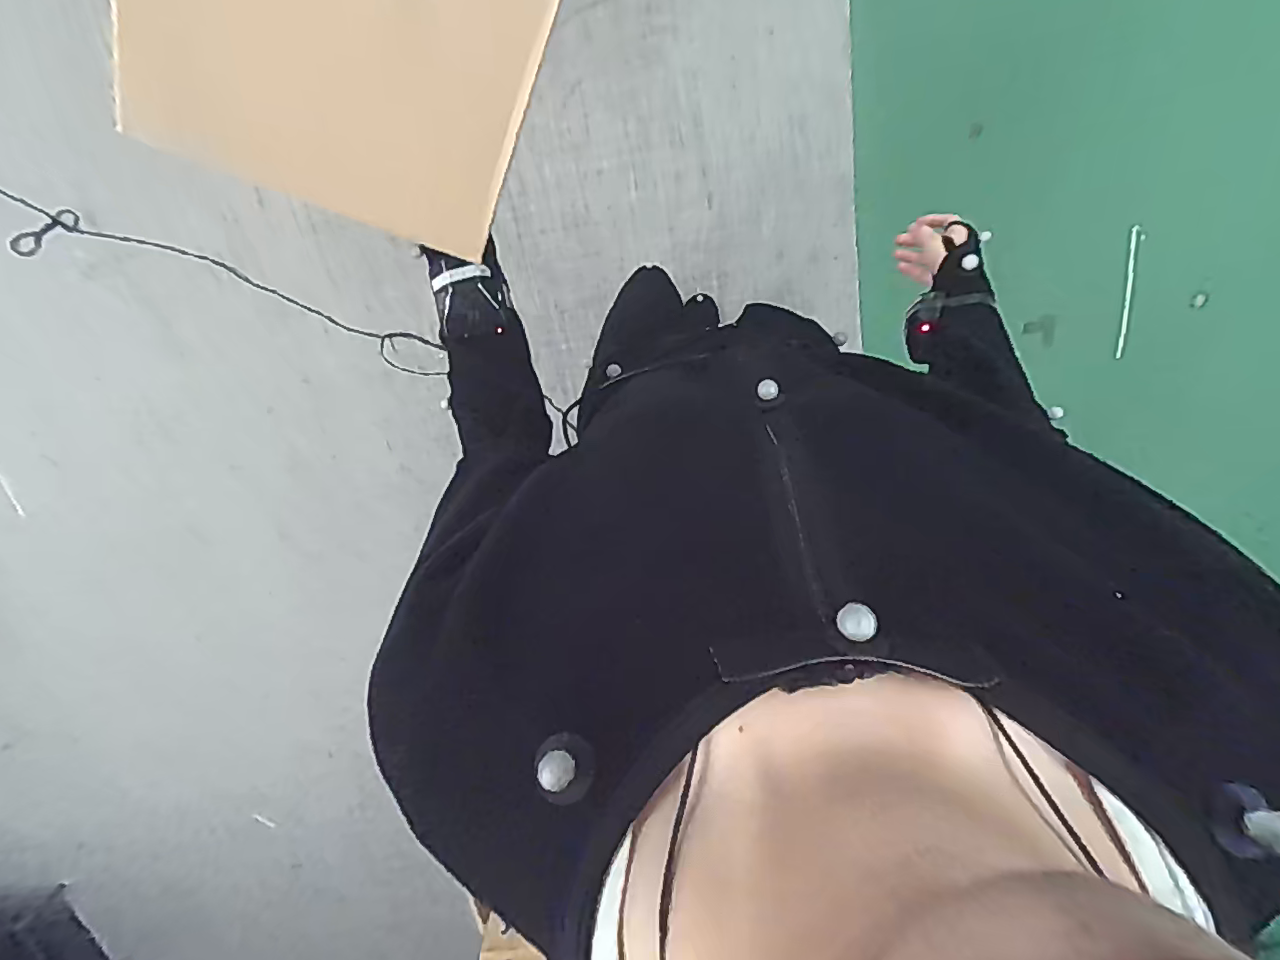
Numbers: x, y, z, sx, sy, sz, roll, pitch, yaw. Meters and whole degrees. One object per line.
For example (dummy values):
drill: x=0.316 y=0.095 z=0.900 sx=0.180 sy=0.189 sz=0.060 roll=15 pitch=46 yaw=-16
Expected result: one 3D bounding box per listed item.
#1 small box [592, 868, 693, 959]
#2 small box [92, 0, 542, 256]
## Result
small box: x=0.011 y=0.996 z=1.171 sx=0.168 sy=0.176 sz=0.179 roll=-25 pitch=106 yaw=7
small box: x=-0.157 y=-0.260 z=0.294 sx=0.168 sy=0.179 sz=0.176 roll=10 pitch=125 yaw=-32
